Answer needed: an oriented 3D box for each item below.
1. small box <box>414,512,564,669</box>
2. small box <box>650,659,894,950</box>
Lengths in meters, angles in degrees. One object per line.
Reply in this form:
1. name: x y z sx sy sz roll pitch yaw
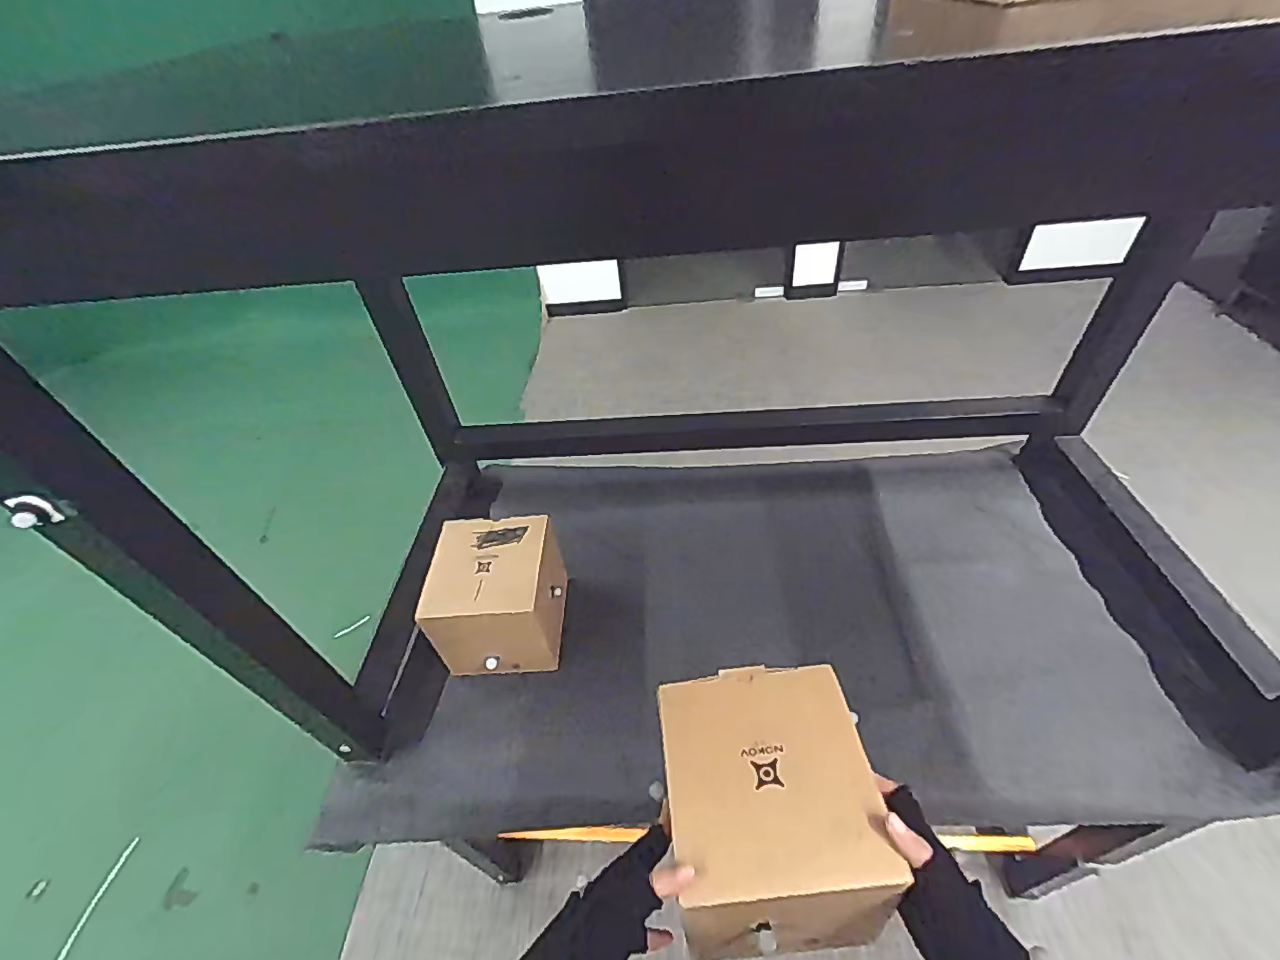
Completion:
1. small box: -0.217 0.171 0.835 0.168 0.176 0.179 -4 44 4
2. small box: 0.105 0.294 0.489 0.168 0.176 0.179 -8 37 2
